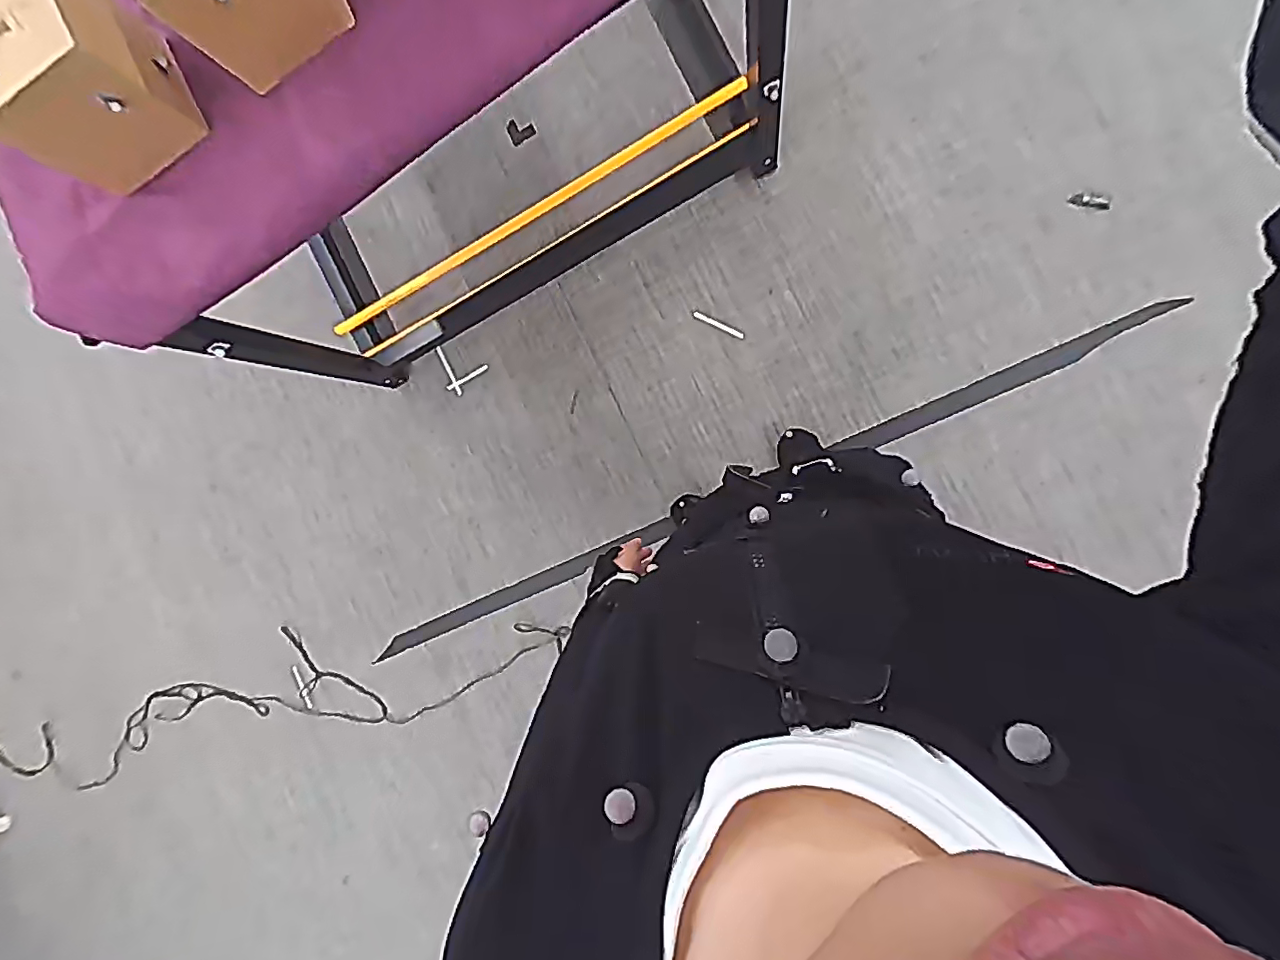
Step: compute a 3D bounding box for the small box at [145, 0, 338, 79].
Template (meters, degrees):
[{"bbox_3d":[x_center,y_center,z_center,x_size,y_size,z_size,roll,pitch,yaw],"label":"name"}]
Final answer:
[{"bbox_3d":[-0.505,-0.654,0.658,0.179,0.176,0.168,-26,88,13],"label":"small box"}]
